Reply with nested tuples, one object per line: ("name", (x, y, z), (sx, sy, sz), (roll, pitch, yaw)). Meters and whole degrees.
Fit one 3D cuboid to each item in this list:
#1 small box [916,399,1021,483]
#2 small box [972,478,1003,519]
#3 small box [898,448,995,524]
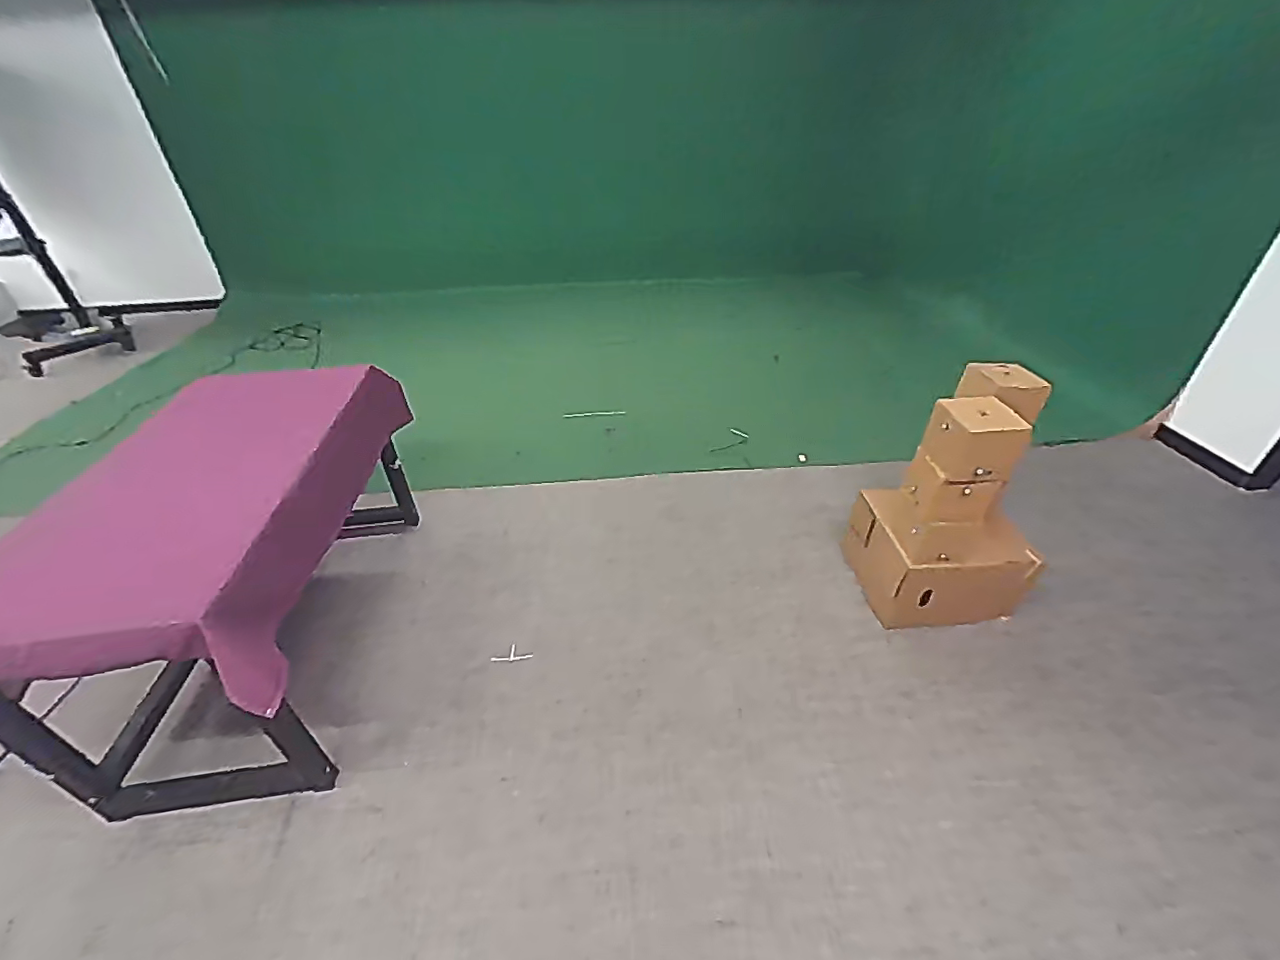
("small box", (0.905, -0.109, 1.512), (0.168, 0.176, 0.179), (-4, 37, -2))
("small box", (1.110, 0.027, 1.889), (0.179, 0.176, 0.168), (0, 35, -4))
("small box", (0.905, 0.018, 1.614), (0.179, 0.176, 0.168), (-1, 37, 1))
